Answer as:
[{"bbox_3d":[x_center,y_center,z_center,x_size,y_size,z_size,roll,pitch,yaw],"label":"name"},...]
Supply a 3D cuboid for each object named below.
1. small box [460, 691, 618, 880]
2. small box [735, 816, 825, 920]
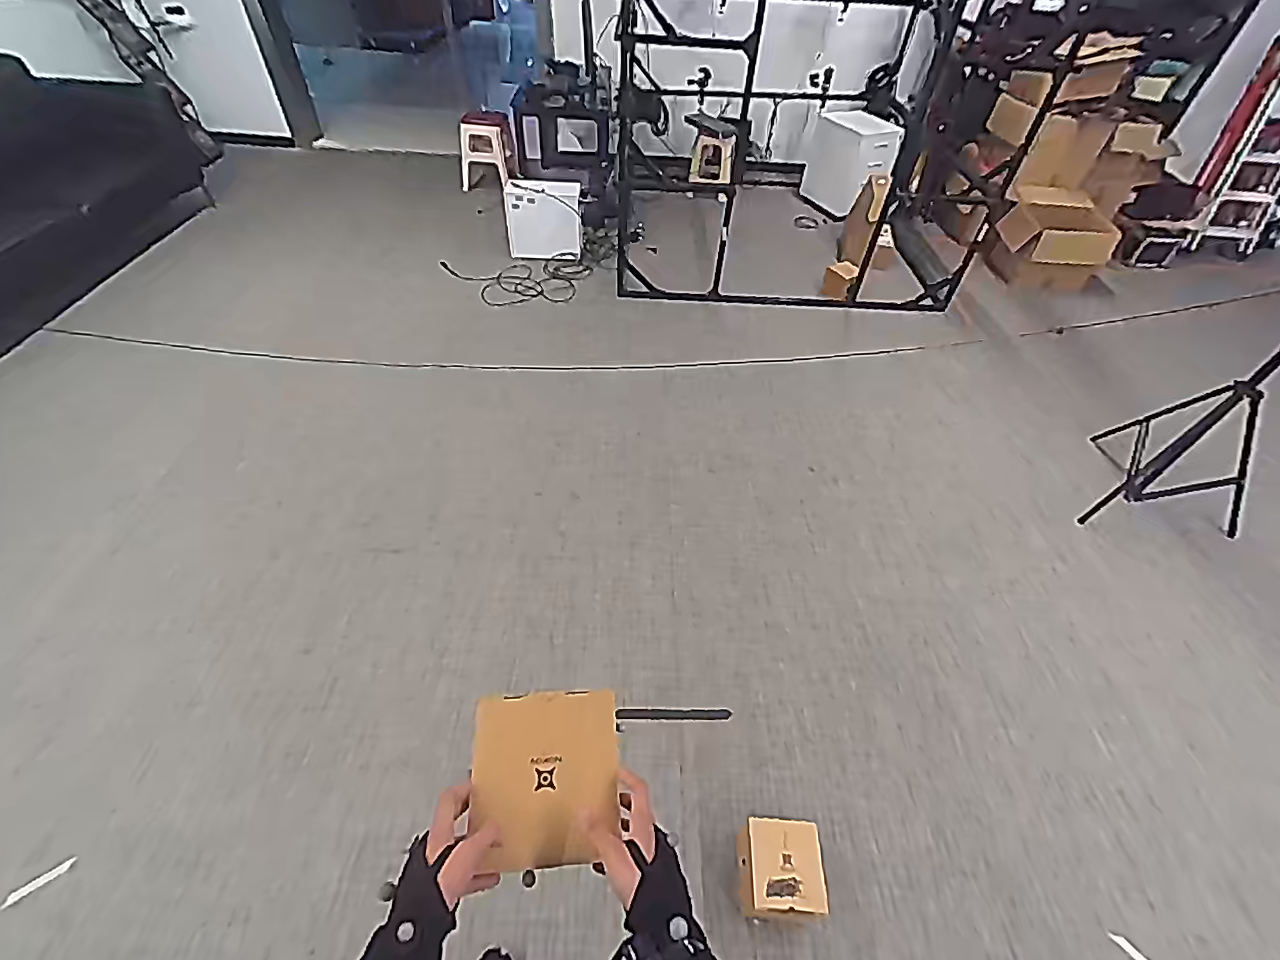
[{"bbox_3d":[-0.113,0.375,0.666,0.168,0.176,0.179,-2,54,-6],"label":"small box"},{"bbox_3d":[0.323,0.924,1.285,0.168,0.176,0.179,5,46,0],"label":"small box"}]
